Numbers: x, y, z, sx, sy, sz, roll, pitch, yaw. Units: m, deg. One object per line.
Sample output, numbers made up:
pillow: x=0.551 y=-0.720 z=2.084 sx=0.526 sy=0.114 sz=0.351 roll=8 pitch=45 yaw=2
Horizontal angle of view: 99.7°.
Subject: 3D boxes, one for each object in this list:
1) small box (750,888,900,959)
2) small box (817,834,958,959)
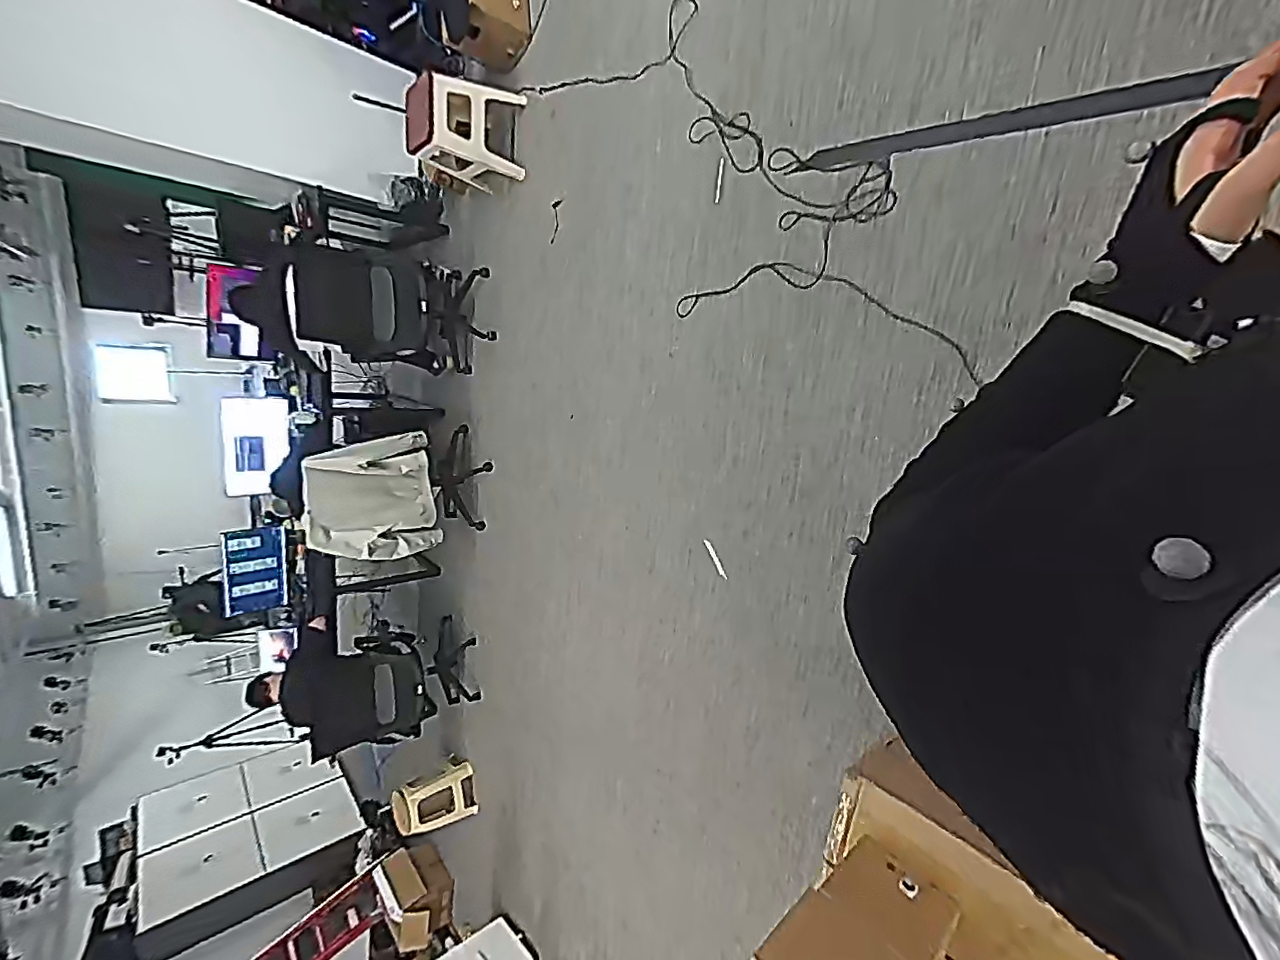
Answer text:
small box: x=0.264 y=0.741 z=0.763 sx=0.179 sy=0.176 sz=0.168 roll=20 pitch=108 yaw=44
small box: x=0.386 y=0.732 z=0.873 sx=0.168 sy=0.176 sz=0.179 roll=20 pitch=107 yaw=44
